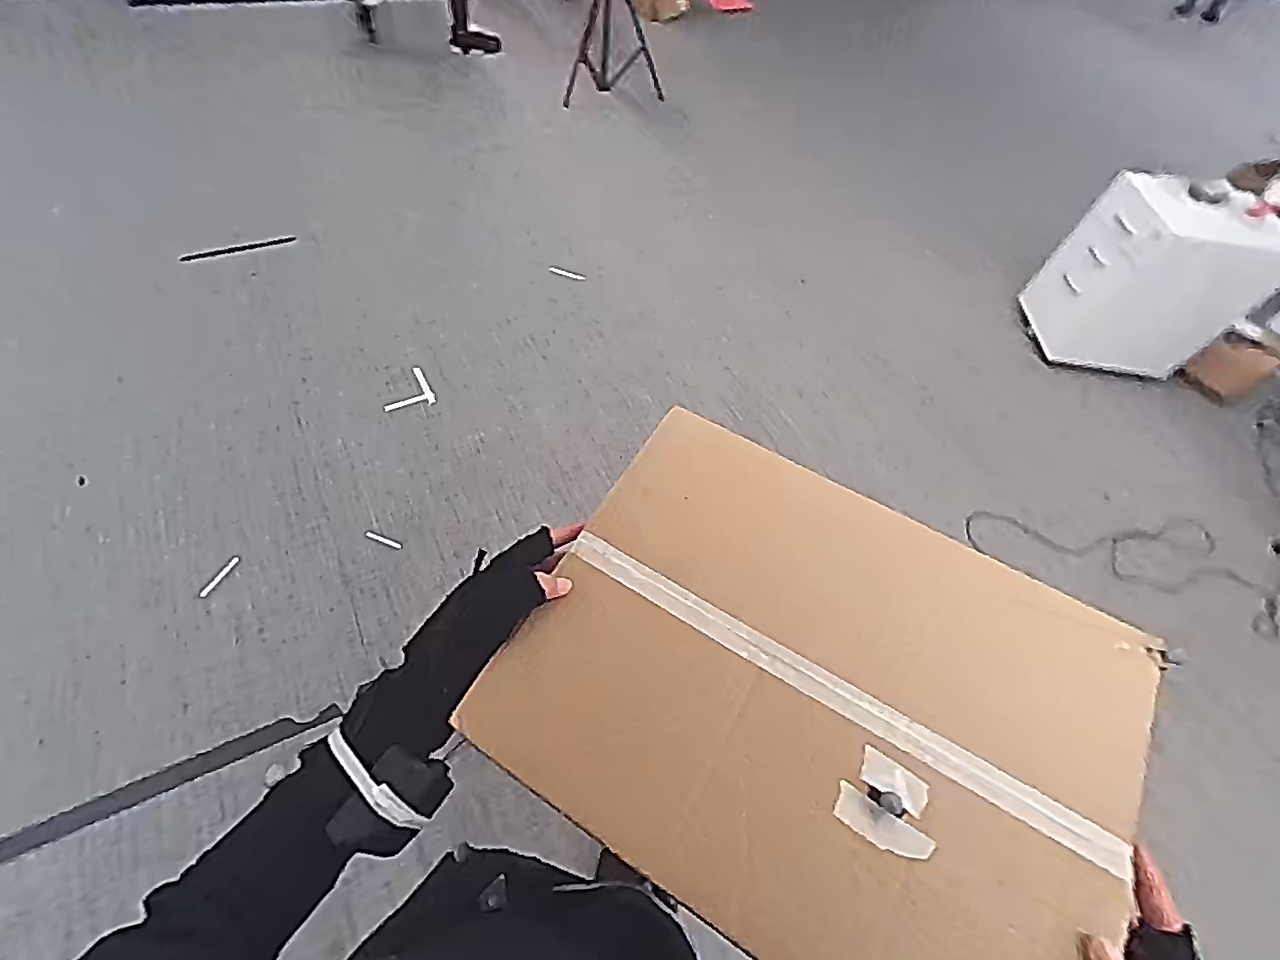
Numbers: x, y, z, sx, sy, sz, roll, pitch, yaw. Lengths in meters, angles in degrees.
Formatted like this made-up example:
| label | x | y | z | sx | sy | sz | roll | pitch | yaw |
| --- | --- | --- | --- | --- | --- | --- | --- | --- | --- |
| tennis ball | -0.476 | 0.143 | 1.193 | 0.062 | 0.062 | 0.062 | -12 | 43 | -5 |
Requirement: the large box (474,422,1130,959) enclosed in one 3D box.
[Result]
| label | x | y | z | sx | sy | sz | roll | pitch | yaw |
| --- | --- | --- | --- | --- | --- | --- | --- | --- | --- |
| large box | 0.124 | 0.215 | 0.526 | 0.408 | 0.320 | 0.320 | 28 | 66 | 15 |
